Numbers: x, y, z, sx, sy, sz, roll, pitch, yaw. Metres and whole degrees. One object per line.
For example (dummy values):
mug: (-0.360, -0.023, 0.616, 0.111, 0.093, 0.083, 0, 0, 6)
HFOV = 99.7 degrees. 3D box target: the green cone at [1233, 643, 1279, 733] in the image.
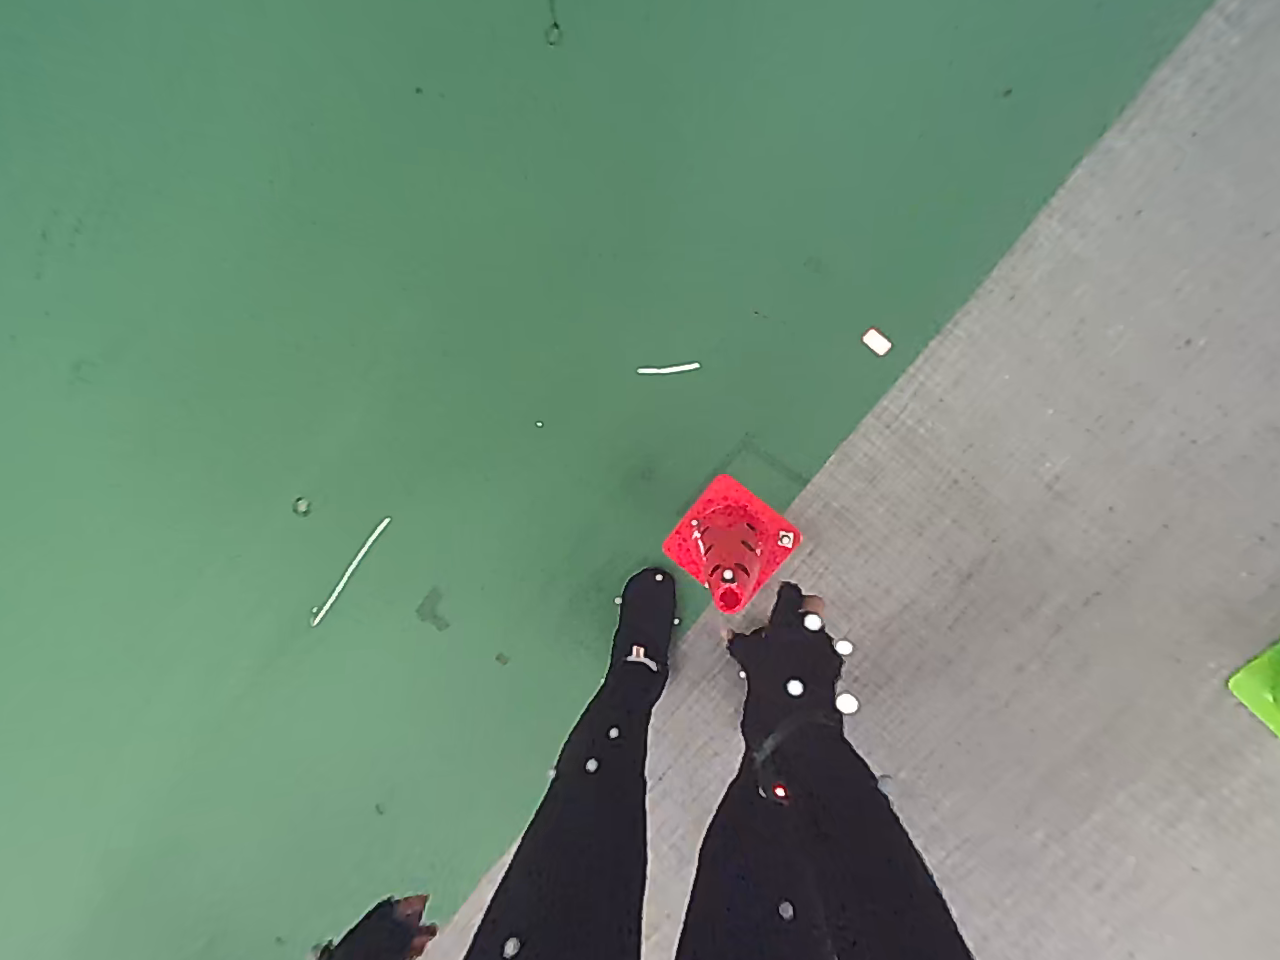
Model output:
green cone: (1.100, 0.358, 0.724, 0.202, 0.368, 0.200, 44, 101, 4)
